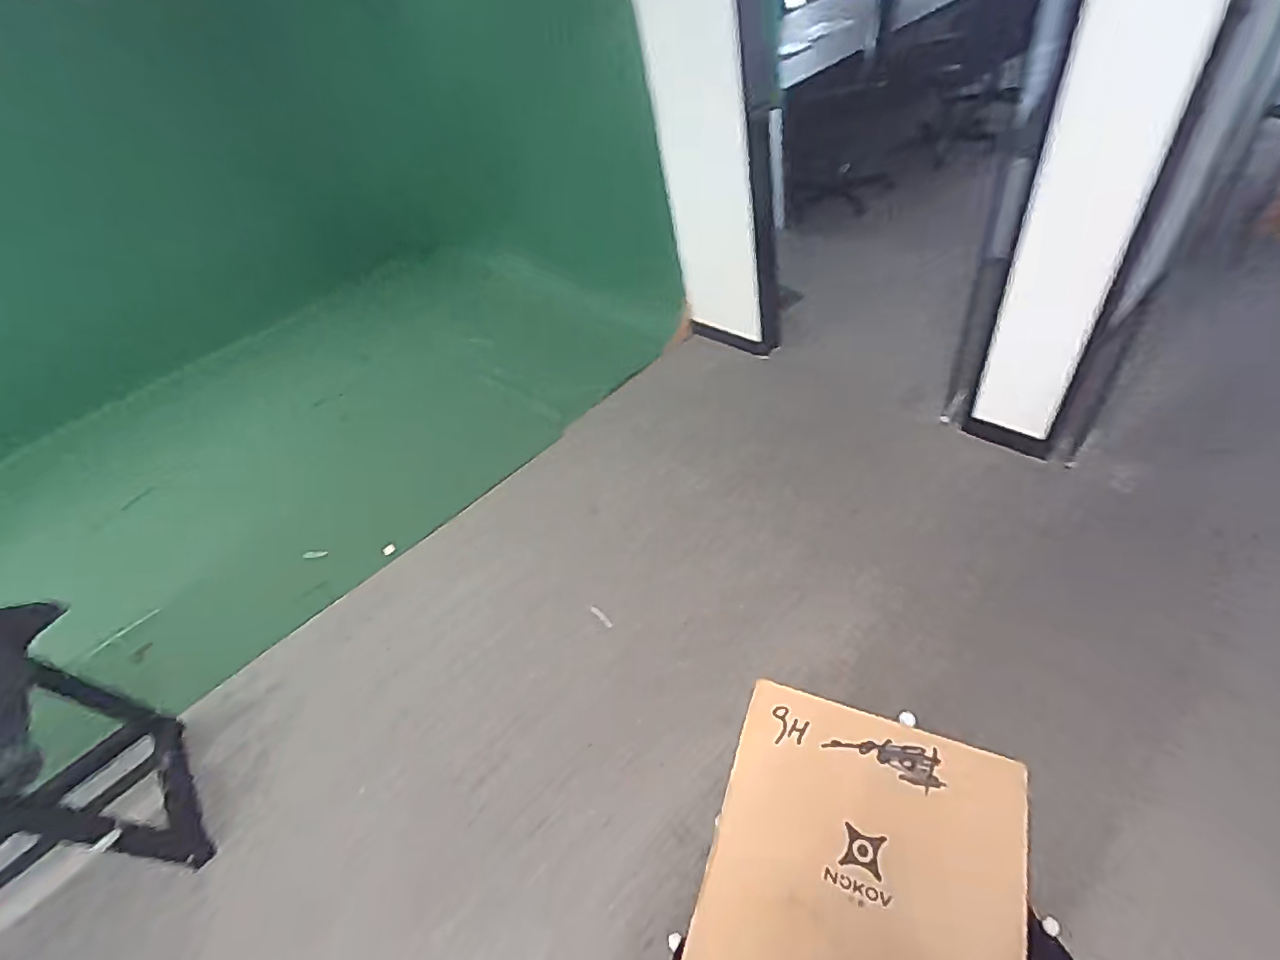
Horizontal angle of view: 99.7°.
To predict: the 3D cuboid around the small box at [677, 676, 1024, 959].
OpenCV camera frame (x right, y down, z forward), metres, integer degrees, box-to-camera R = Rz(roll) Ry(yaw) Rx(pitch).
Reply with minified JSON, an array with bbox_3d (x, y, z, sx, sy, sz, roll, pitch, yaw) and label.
[{"bbox_3d":[0.141,0.269,0.374,0.168,0.176,0.179,11,58,22],"label":"small box"}]
